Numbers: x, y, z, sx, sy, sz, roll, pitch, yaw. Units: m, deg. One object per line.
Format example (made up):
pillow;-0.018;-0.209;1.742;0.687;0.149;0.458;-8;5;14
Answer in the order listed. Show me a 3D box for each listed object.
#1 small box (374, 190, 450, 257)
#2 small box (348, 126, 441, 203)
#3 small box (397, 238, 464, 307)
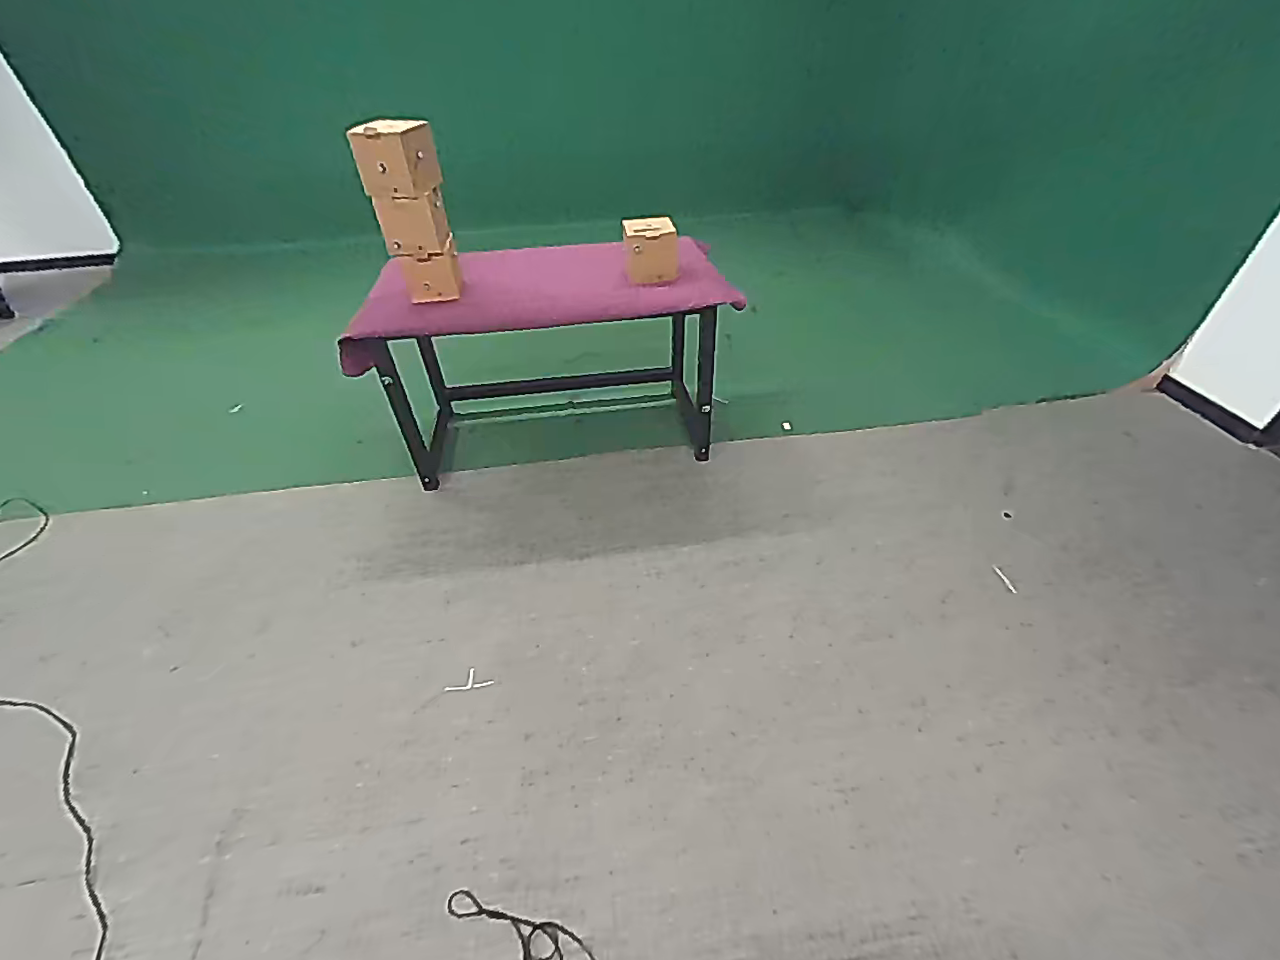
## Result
small box;-0.719;-0.821;1.726;0.168;0.176;0.179;-4;42;-3
small box;-0.723;-0.945;1.618;0.168;0.176;0.179;8;45;9
small box;-0.708;-0.710;1.848;0.168;0.176;0.179;-7;43;-6
